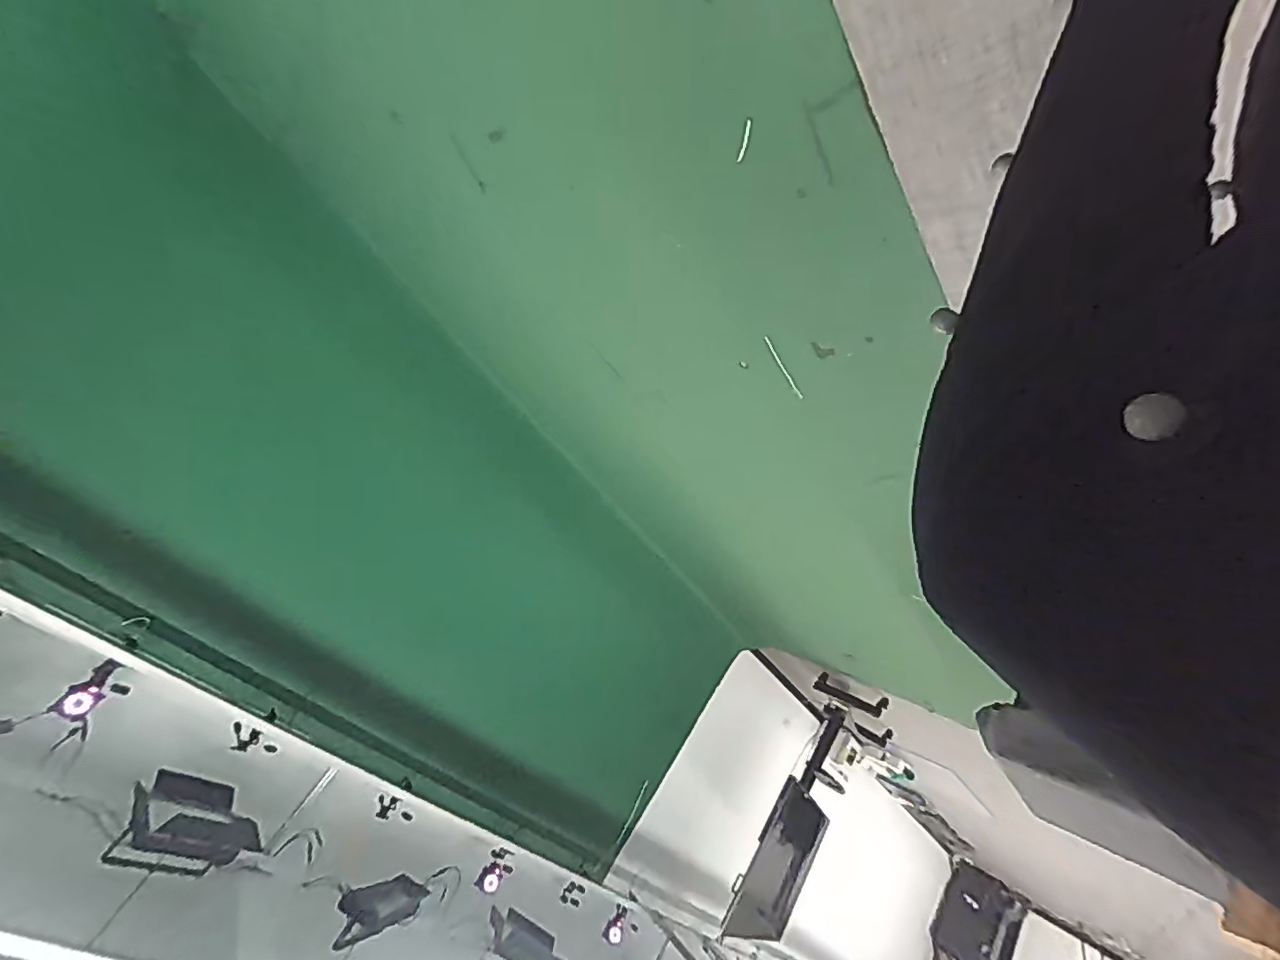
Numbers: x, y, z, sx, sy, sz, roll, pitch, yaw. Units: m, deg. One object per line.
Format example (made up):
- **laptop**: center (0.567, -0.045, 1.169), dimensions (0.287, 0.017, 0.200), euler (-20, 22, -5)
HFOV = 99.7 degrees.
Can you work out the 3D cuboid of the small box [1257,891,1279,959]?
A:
- **small box**: center (1.680, 1.178, 1.348), dimensions (0.179, 0.176, 0.168), euler (49, 158, -27)
